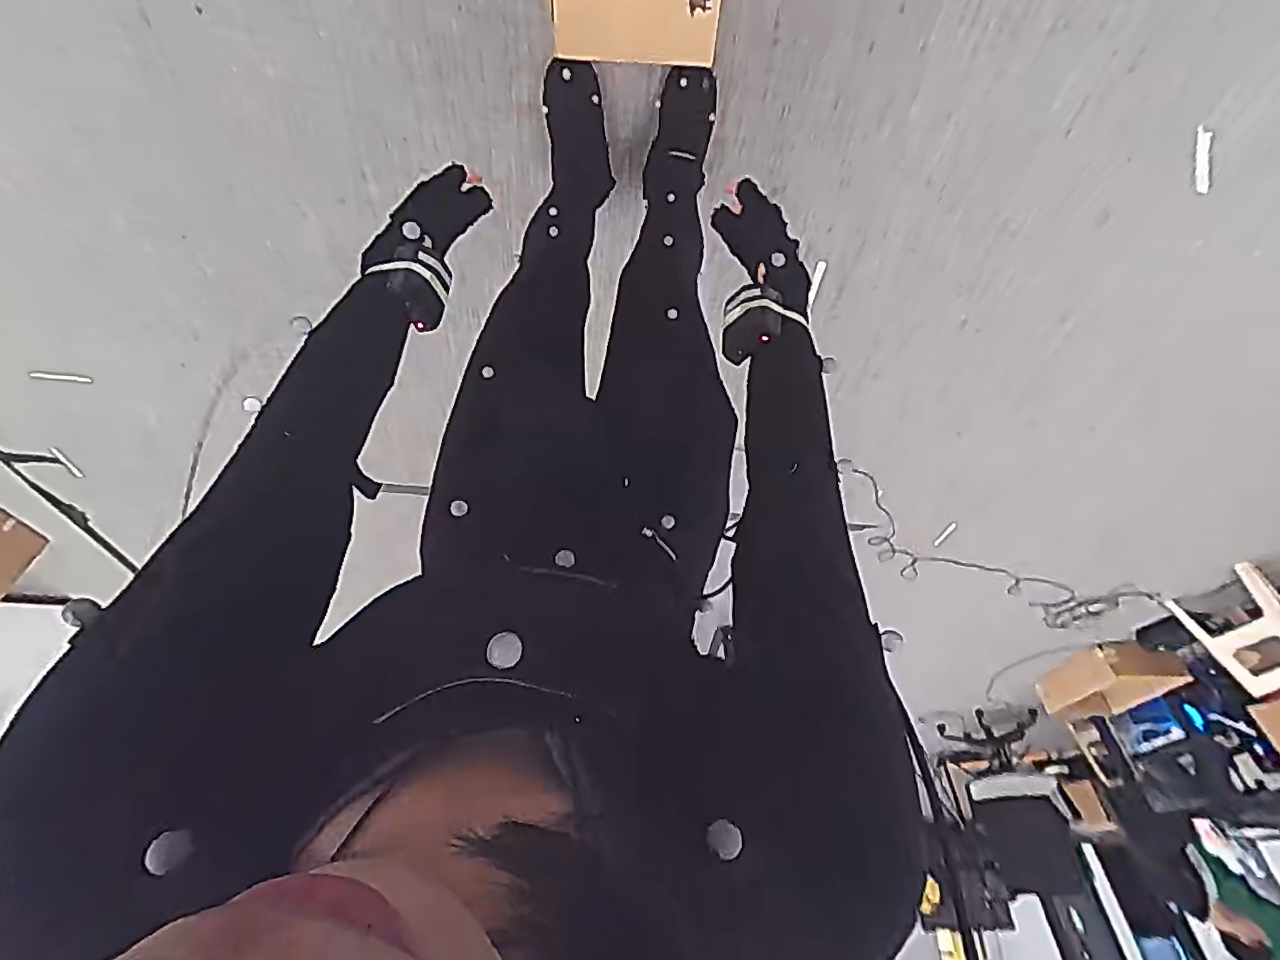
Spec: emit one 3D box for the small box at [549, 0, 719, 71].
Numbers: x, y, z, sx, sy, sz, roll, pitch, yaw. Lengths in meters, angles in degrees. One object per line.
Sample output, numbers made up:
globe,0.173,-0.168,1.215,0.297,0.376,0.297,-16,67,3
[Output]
small box,-0.004,-0.566,0.581,0.179,0.176,0.168,2,139,-3
